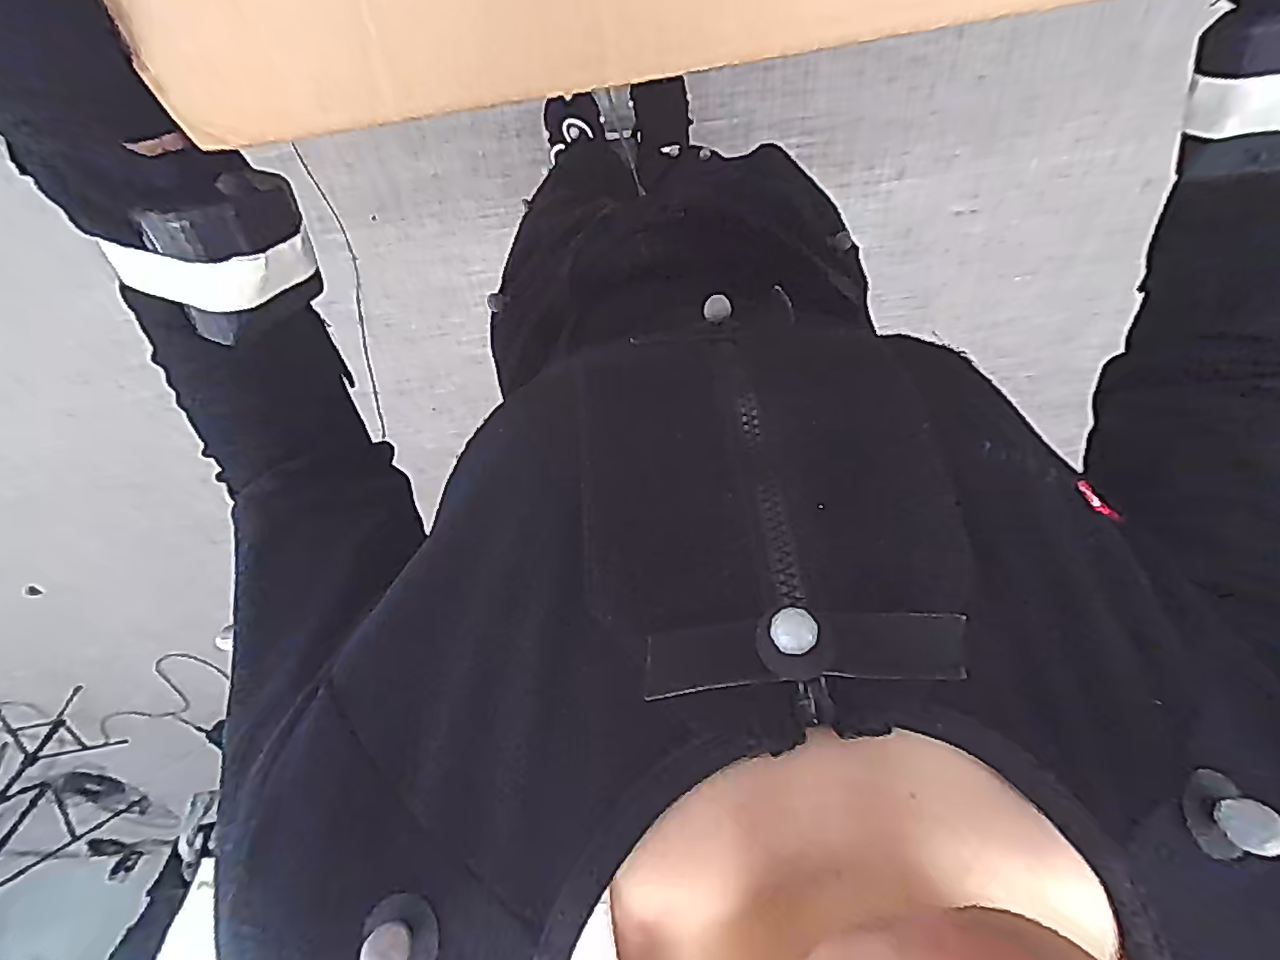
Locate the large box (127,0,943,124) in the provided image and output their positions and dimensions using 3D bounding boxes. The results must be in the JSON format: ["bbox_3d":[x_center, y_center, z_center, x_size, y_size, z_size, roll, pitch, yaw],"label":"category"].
[{"bbox_3d":[-0.006,-0.378,0.168,0.408,0.320,0.320,-7,144,3],"label":"large box"}]
